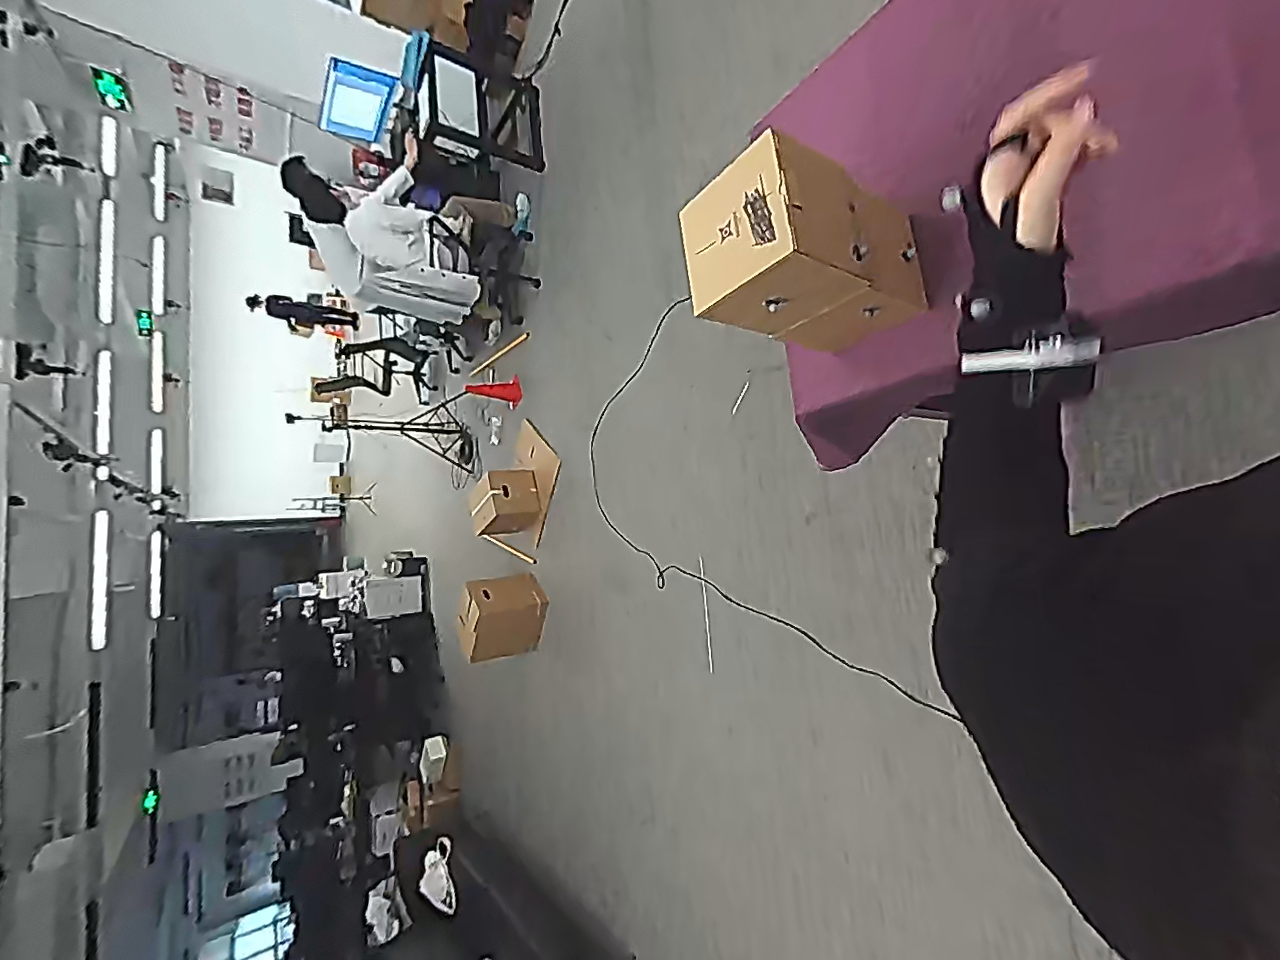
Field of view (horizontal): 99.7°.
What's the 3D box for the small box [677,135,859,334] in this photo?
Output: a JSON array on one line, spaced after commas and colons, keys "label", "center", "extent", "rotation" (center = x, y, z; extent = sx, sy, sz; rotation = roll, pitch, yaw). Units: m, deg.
[{"label": "small box", "center": [0.179, -0.320, 0.747], "extent": [0.179, 0.176, 0.168], "rotation": [-20, 74, 52]}]
